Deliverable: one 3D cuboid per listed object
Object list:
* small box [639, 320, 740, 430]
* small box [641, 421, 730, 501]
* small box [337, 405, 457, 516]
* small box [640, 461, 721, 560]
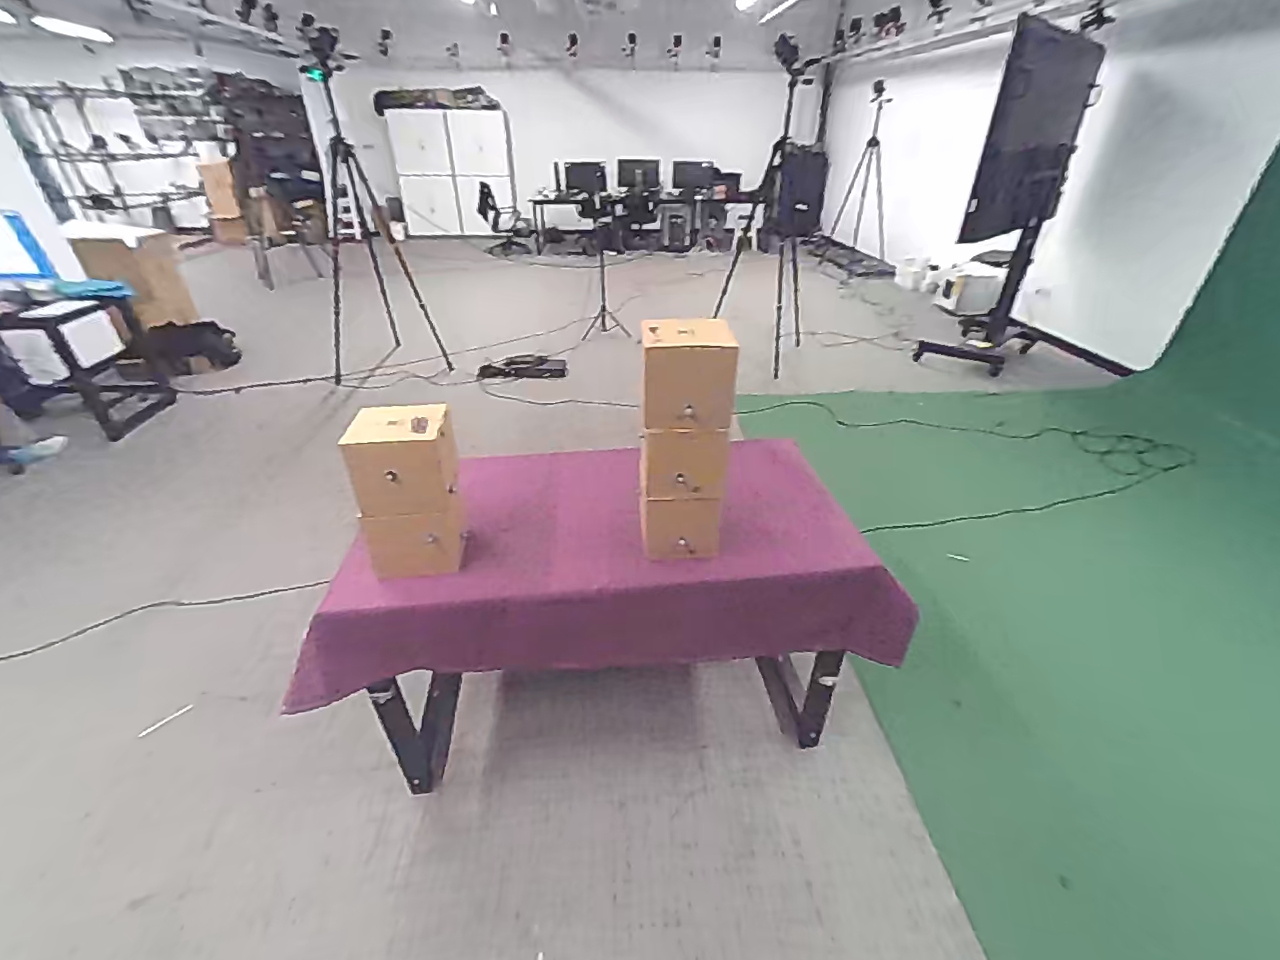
[{"bbox_3d":[0.089,-0.209,1.076,0.179,0.176,0.168,0,33,-2],"label":"small box"},{"bbox_3d":[0.090,-0.071,1.167,0.168,0.176,0.179,-2,33,-3],"label":"small box"},{"bbox_3d":[-0.484,-0.041,1.112,0.179,0.176,0.168,-4,33,-7],"label":"small box"},{"bbox_3d":[0.087,0.067,1.254,0.168,0.176,0.179,-2,33,-3],"label":"small box"}]
